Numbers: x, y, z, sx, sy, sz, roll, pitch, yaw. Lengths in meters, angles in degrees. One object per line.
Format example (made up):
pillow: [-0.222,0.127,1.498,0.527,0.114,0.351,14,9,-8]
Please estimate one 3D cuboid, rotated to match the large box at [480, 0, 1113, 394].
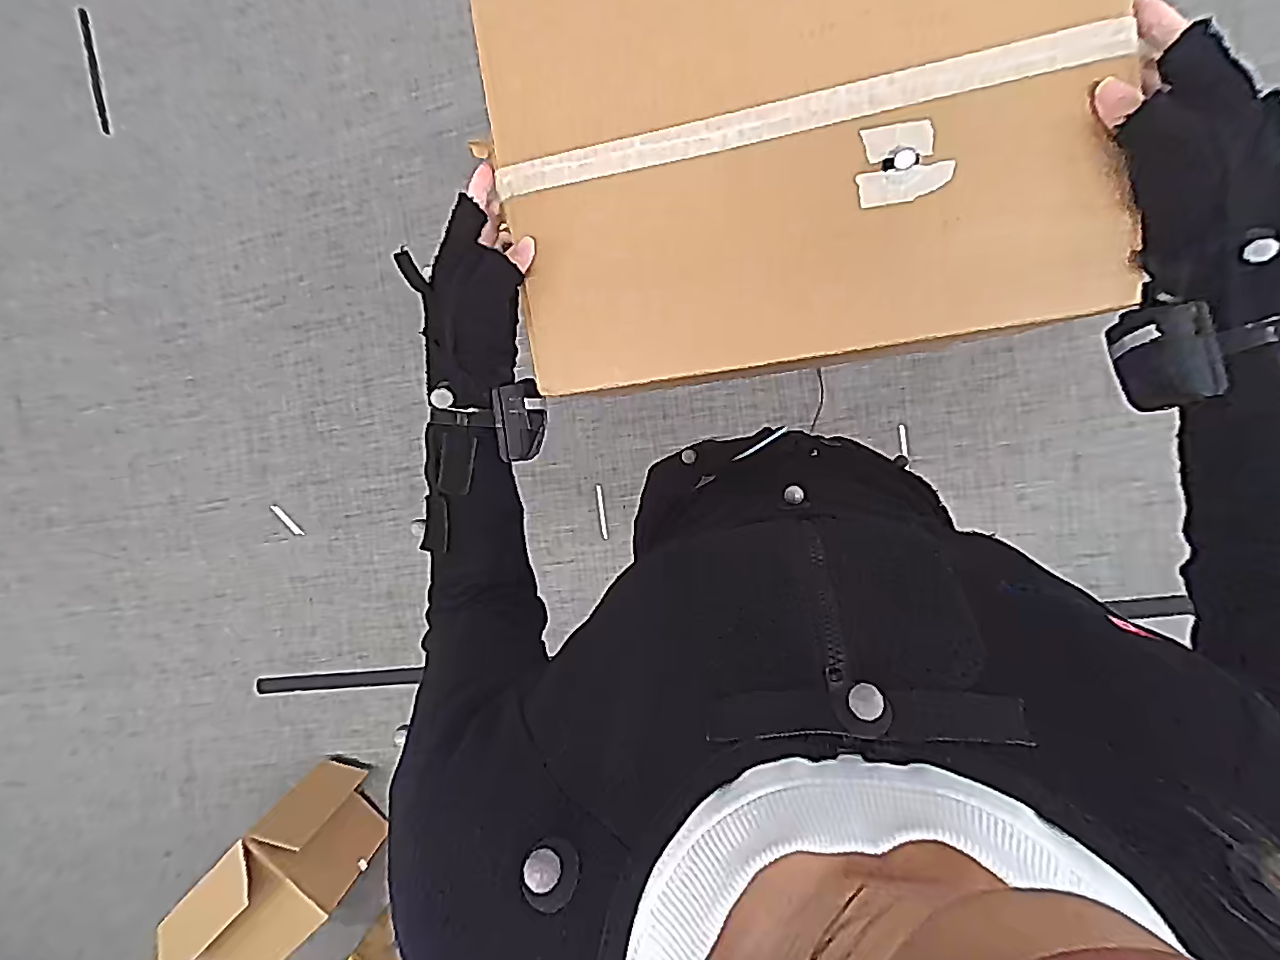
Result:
large box: [0.118,-0.267,0.519,0.408,0.320,0.320,-8,99,9]
